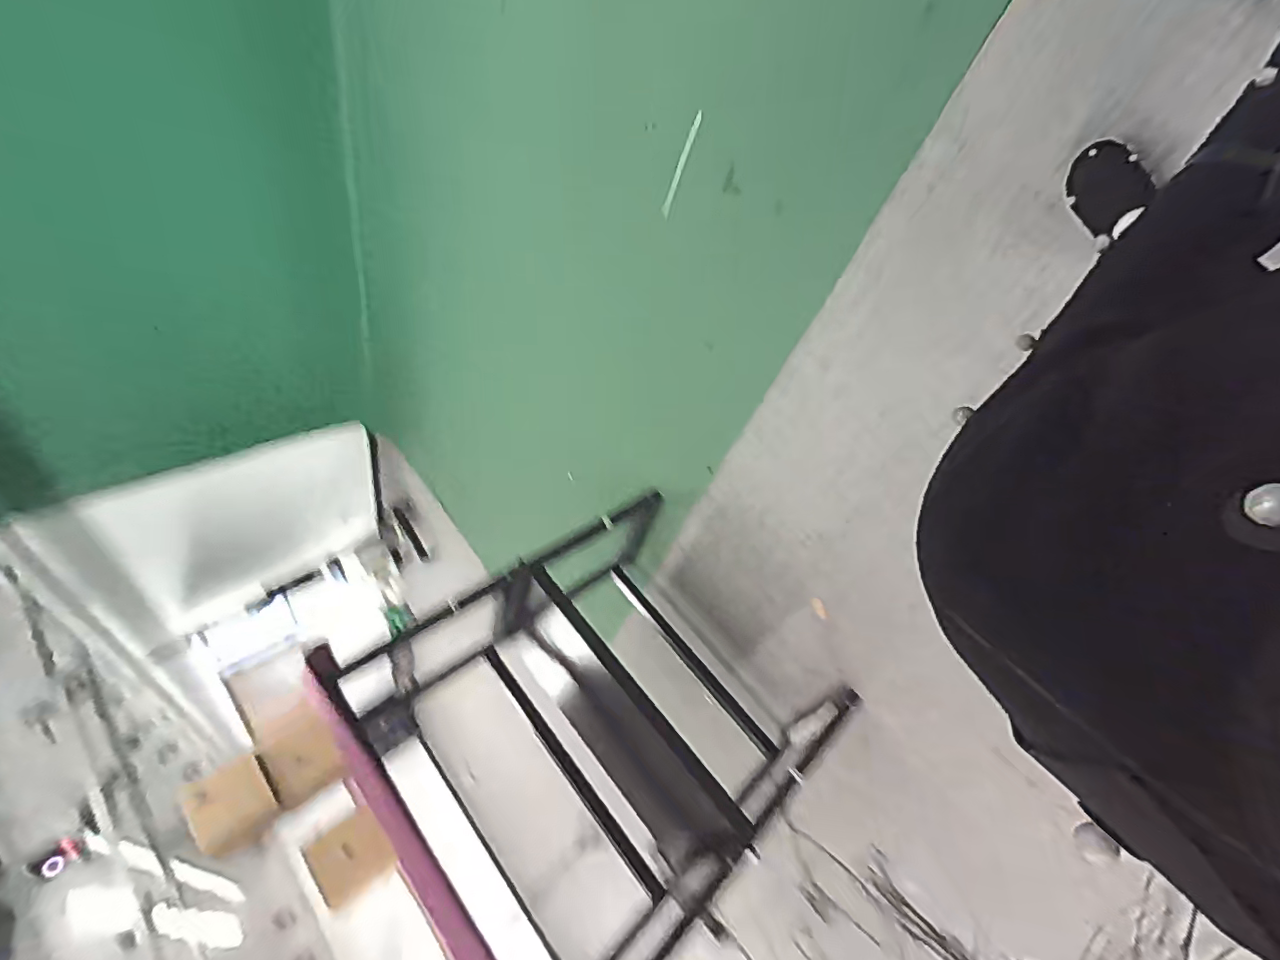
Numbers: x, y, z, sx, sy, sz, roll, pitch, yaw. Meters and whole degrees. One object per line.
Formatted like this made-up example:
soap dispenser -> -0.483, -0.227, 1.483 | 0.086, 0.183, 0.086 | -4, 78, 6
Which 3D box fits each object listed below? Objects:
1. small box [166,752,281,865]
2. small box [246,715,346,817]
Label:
small box -> -1.045, 0.822, 1.369 | 0.179, 0.176, 0.168 | 45, 139, 19
small box -> -0.937, 0.775, 1.485 | 0.179, 0.176, 0.168 | 45, 139, 19
